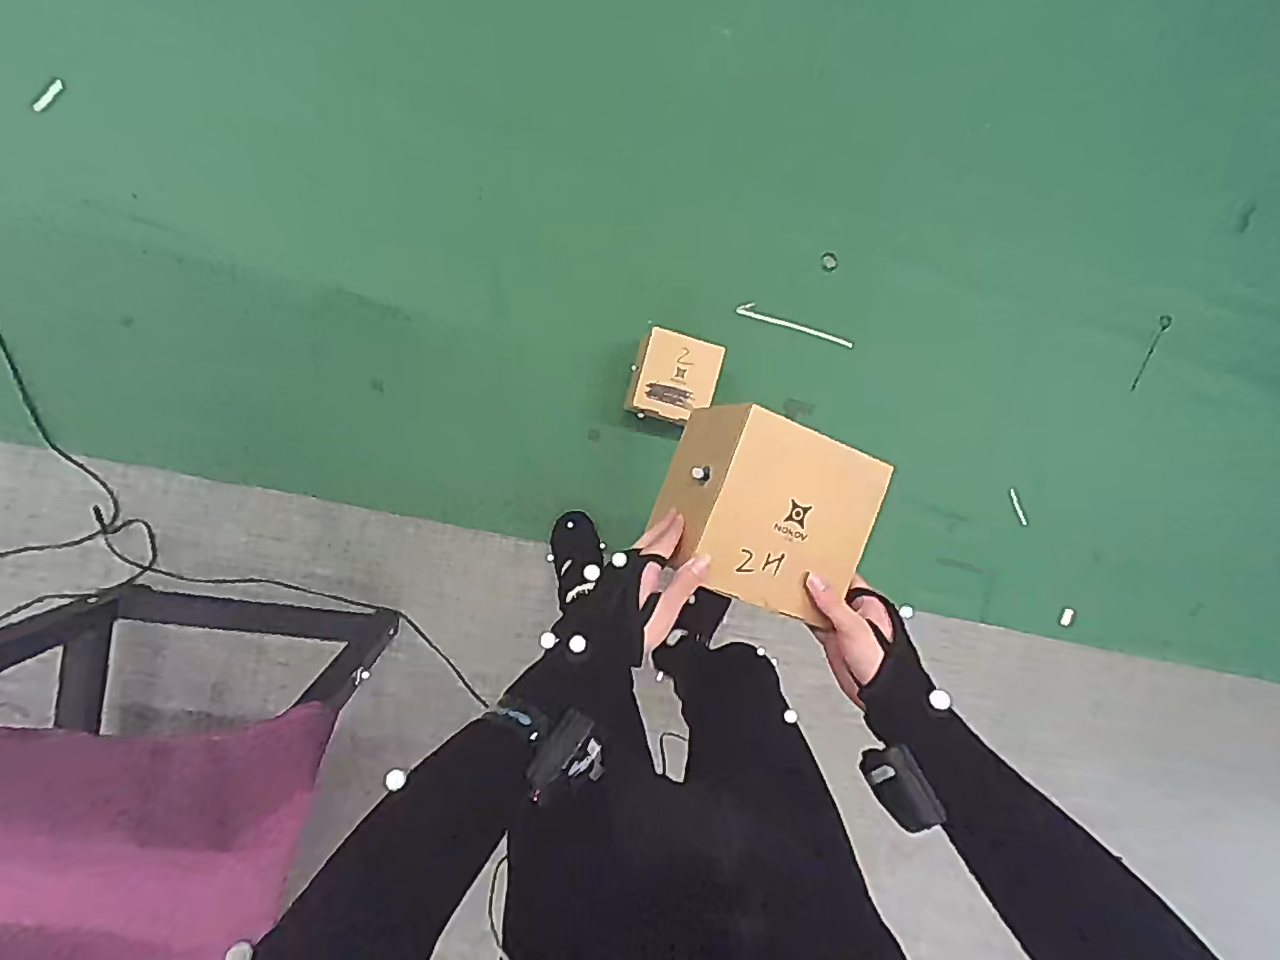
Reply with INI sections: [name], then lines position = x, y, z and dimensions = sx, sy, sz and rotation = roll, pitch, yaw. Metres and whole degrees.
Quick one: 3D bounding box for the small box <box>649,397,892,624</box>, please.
[small box]
position = 0.125, 0.025, 0.584
dimensions = 0.168, 0.176, 0.179
rotation = 21, 91, -14
